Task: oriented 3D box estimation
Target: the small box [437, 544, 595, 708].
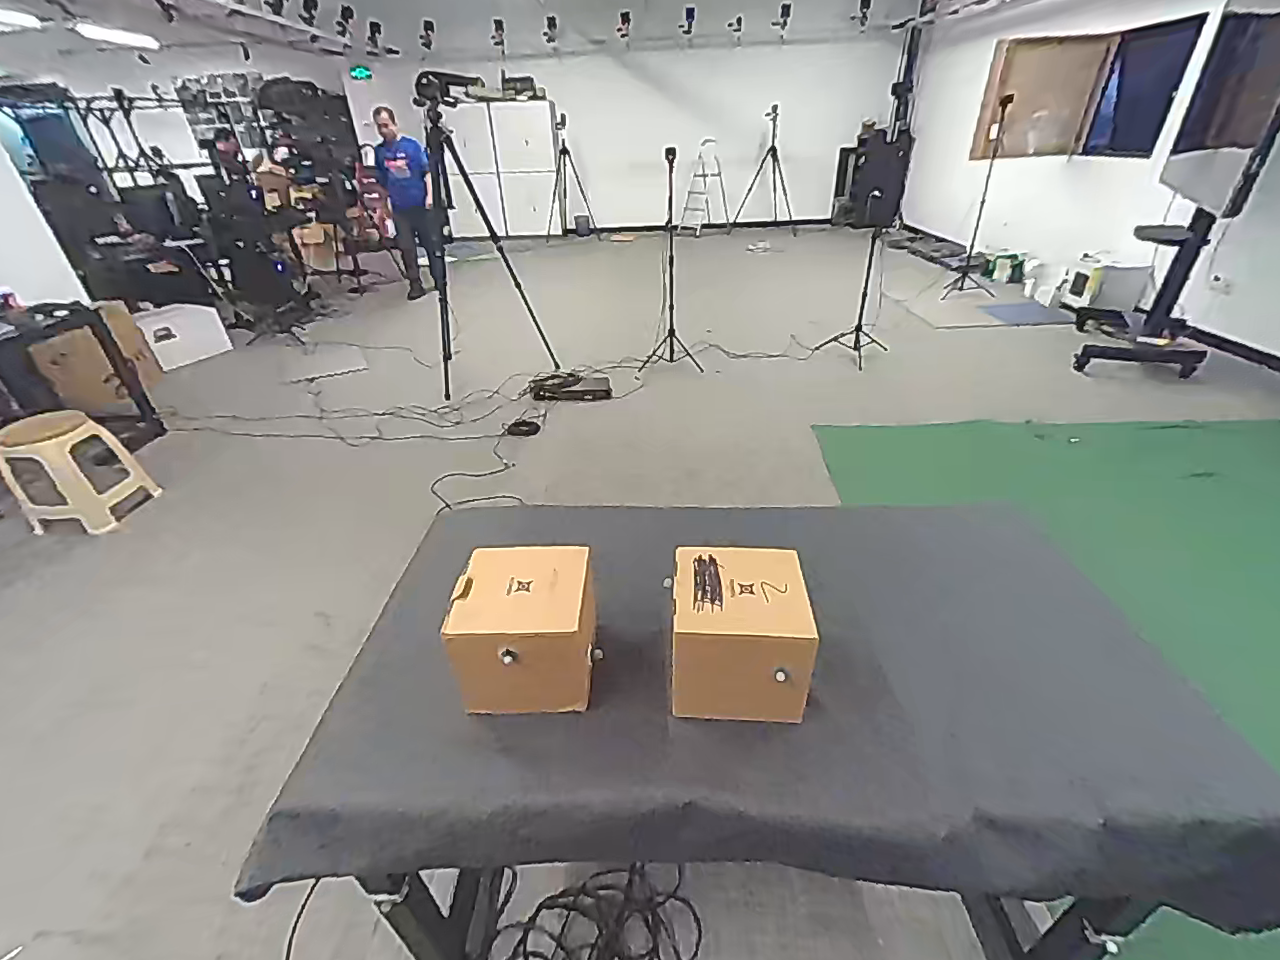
[{"bbox_3d":[-0.164,0.209,0.780,0.179,0.176,0.168,0,33,2],"label":"small box"}]
